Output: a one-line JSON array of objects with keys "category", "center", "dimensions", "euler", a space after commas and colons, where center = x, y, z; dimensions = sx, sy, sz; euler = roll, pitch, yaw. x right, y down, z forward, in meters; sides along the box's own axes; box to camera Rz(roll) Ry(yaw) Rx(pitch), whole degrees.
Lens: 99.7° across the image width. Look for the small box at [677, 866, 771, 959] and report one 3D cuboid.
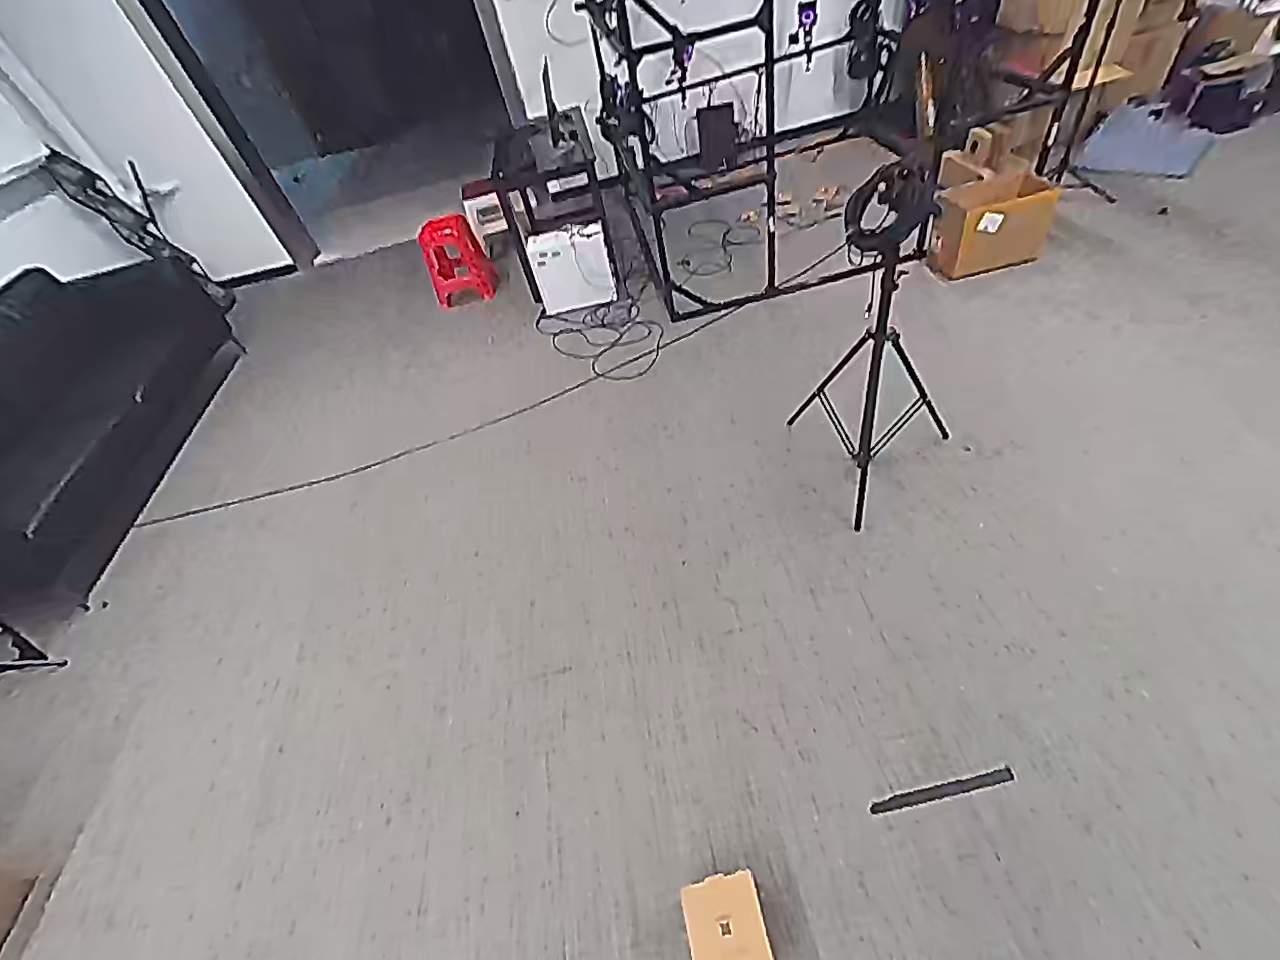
[{"category": "small box", "center": [0.188, 0.989, 1.196], "dimensions": [0.168, 0.176, 0.179], "euler": [-15, 45, 2]}]
